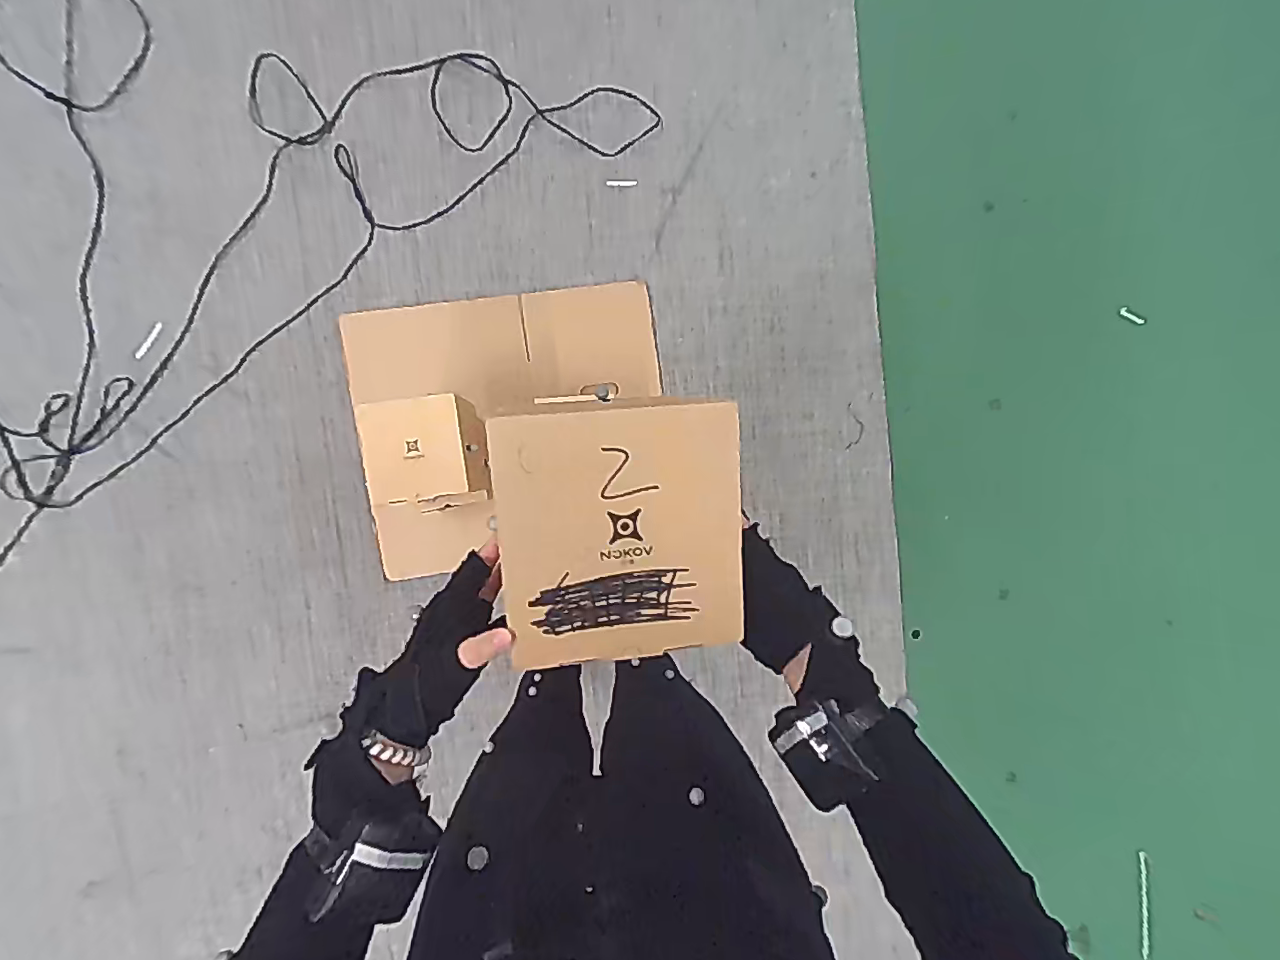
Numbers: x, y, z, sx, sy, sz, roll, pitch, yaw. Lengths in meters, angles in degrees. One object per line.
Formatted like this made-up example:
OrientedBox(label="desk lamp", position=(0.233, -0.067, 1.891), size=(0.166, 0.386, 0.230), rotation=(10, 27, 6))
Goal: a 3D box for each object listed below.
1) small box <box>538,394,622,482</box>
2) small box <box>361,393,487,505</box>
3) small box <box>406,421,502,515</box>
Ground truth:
OrientedBox(label="small box", position=(-0.130, -0.089, 1.183), size=(0.168, 0.176, 0.179), rotation=(-4, 94, -4))
OrientedBox(label="small box", position=(-0.386, -0.055, 0.993), size=(0.168, 0.176, 0.179), rotation=(-8, 93, -5))
OrientedBox(label="small box", position=(-0.402, -0.033, 1.156), size=(0.168, 0.176, 0.179), rotation=(-11, 93, -5))
